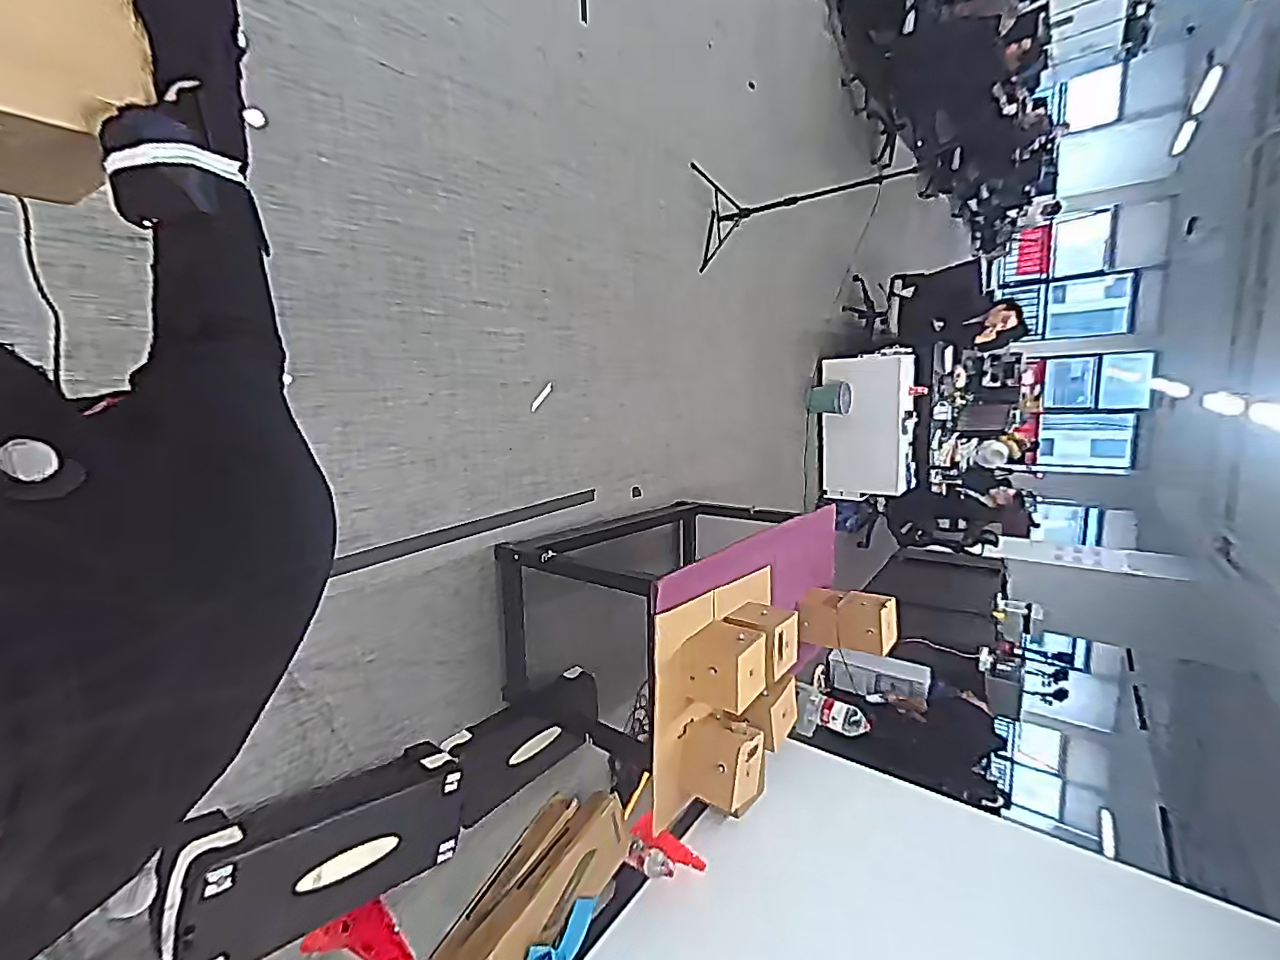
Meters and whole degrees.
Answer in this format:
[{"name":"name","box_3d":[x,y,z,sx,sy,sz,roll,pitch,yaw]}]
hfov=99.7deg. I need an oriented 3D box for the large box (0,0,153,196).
[{"name":"large box","box_3d":[-0.594,-0.390,0.296,0.408,0.320,0.320,-14,112,-54]}]
